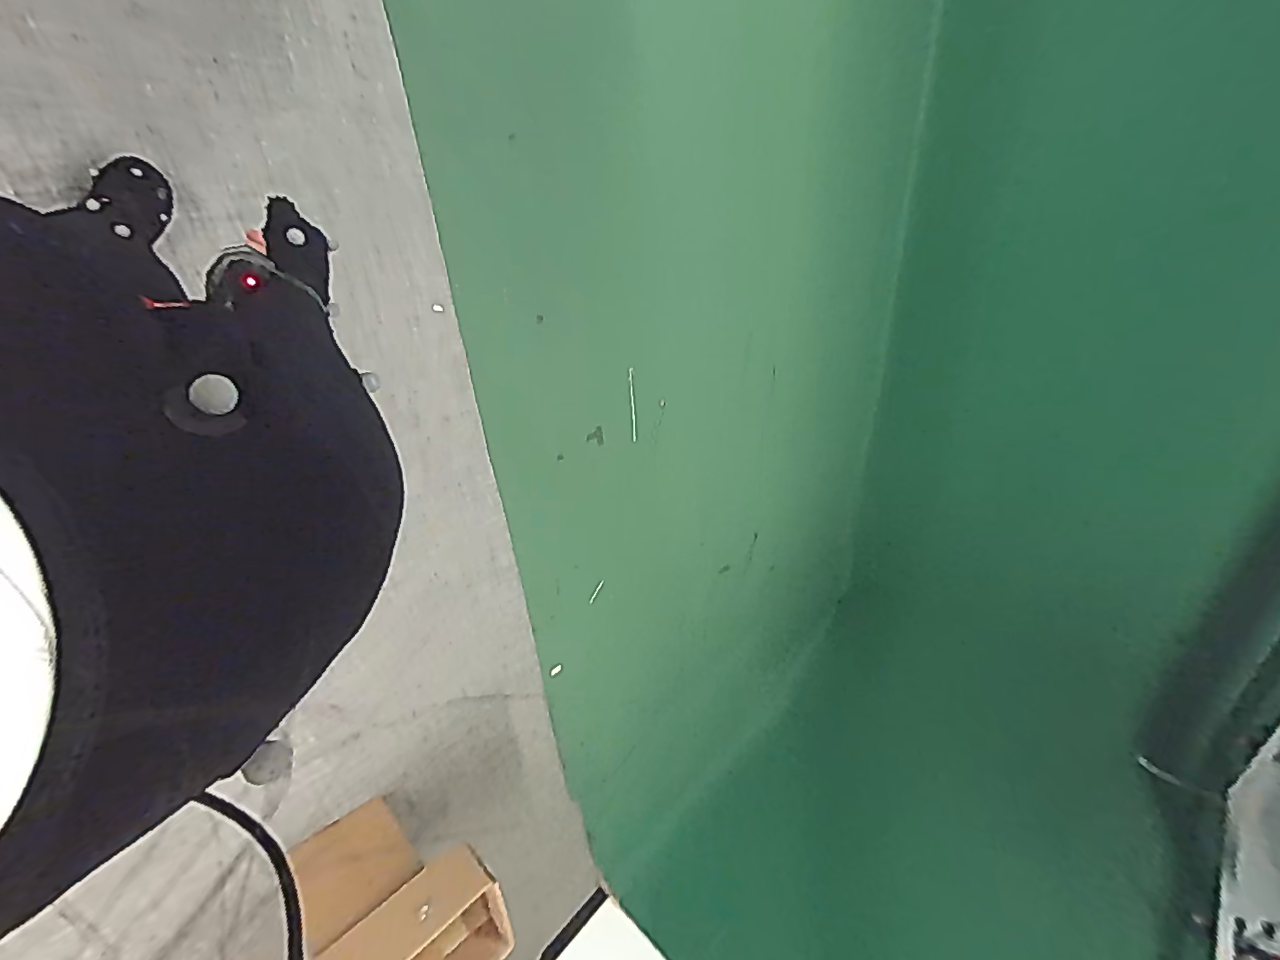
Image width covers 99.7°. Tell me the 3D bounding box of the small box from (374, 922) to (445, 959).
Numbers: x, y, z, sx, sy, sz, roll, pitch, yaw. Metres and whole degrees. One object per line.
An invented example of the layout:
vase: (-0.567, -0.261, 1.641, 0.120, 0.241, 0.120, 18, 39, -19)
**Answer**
small box: (-0.641, 1.410, 1.526, 0.168, 0.176, 0.179, -26, 128, -36)
